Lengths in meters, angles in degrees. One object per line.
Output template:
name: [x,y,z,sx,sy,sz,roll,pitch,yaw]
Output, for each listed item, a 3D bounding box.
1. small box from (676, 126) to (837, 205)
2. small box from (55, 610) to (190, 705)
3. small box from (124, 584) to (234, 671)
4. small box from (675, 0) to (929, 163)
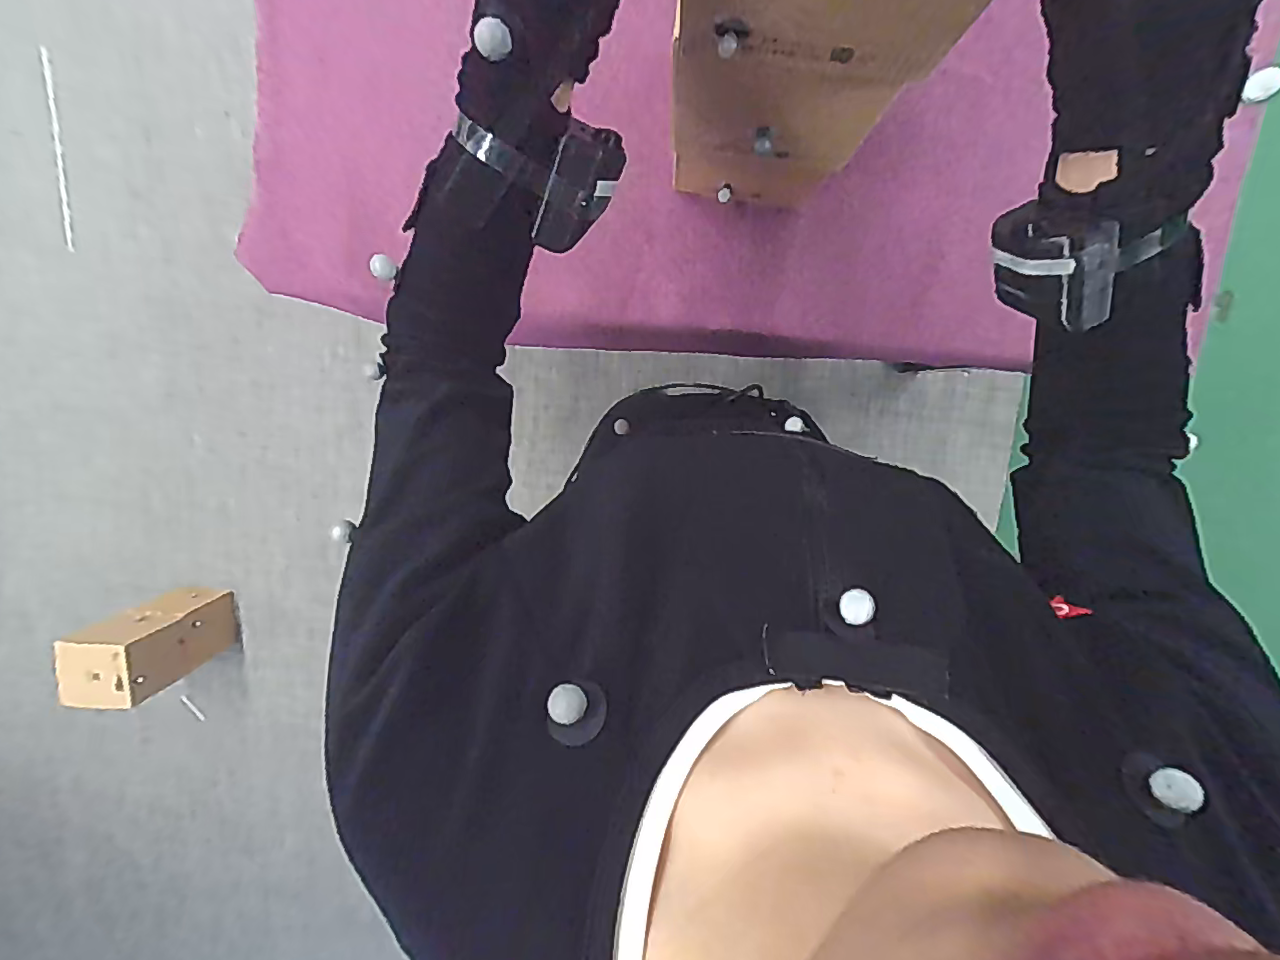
small box: [0.132,-0.427,0.586,0.168,0.176,0.179,9,100,1]
small box: [-1.280,0.434,1.348,0.179,0.176,0.168,4,100,2]
small box: [-1.275,0.407,1.510,0.168,0.176,0.179,4,99,1]
small box: [0.119,-0.386,0.427,0.168,0.176,0.179,8,100,2]
